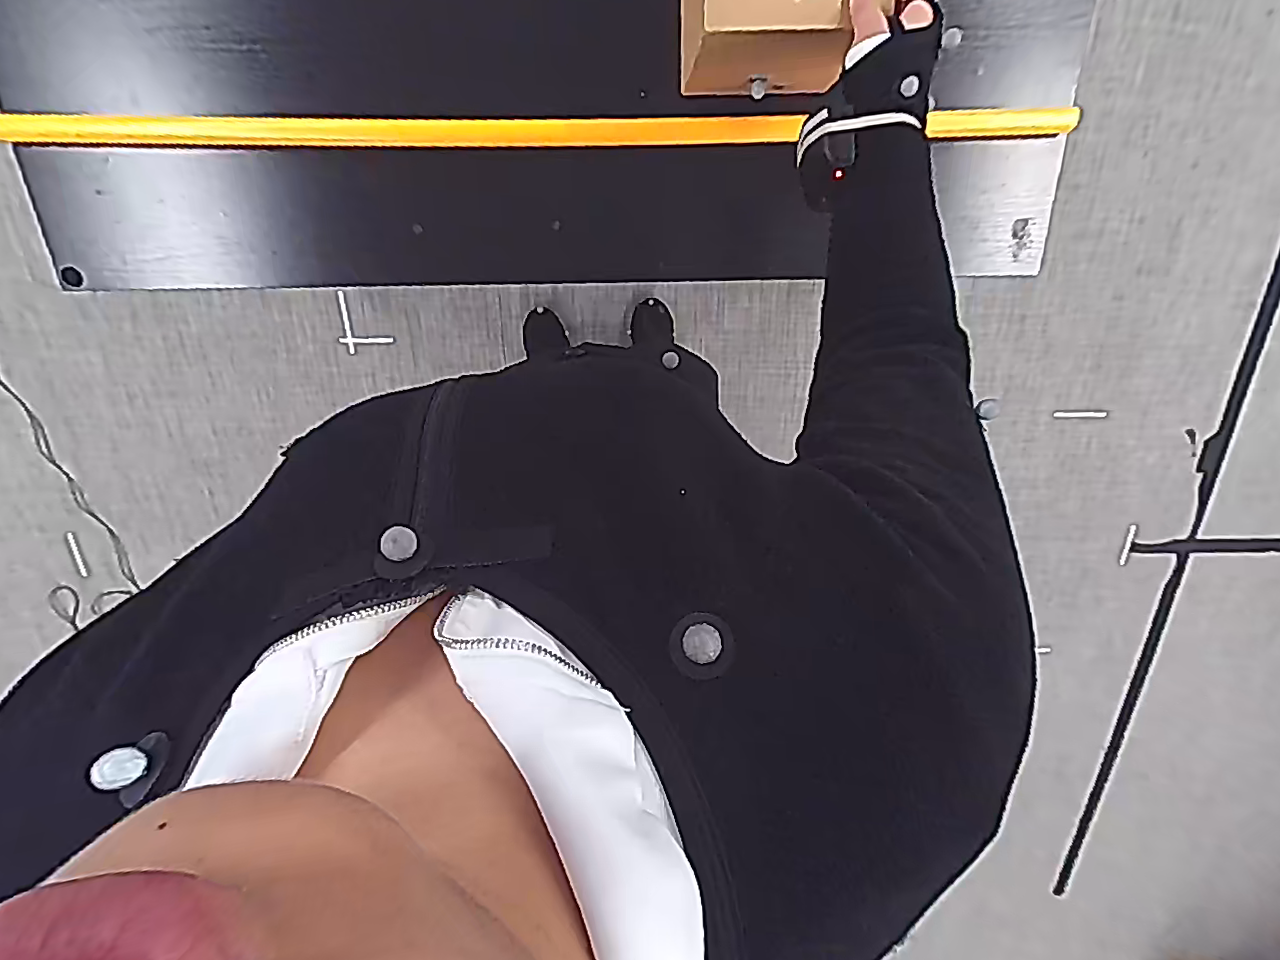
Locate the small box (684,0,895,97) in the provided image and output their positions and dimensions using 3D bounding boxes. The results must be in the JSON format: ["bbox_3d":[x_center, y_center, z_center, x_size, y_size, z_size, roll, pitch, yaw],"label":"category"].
[{"bbox_3d":[0.133,-0.495,0.513,0.168,0.176,0.179,-1,110,-1],"label":"small box"}]
